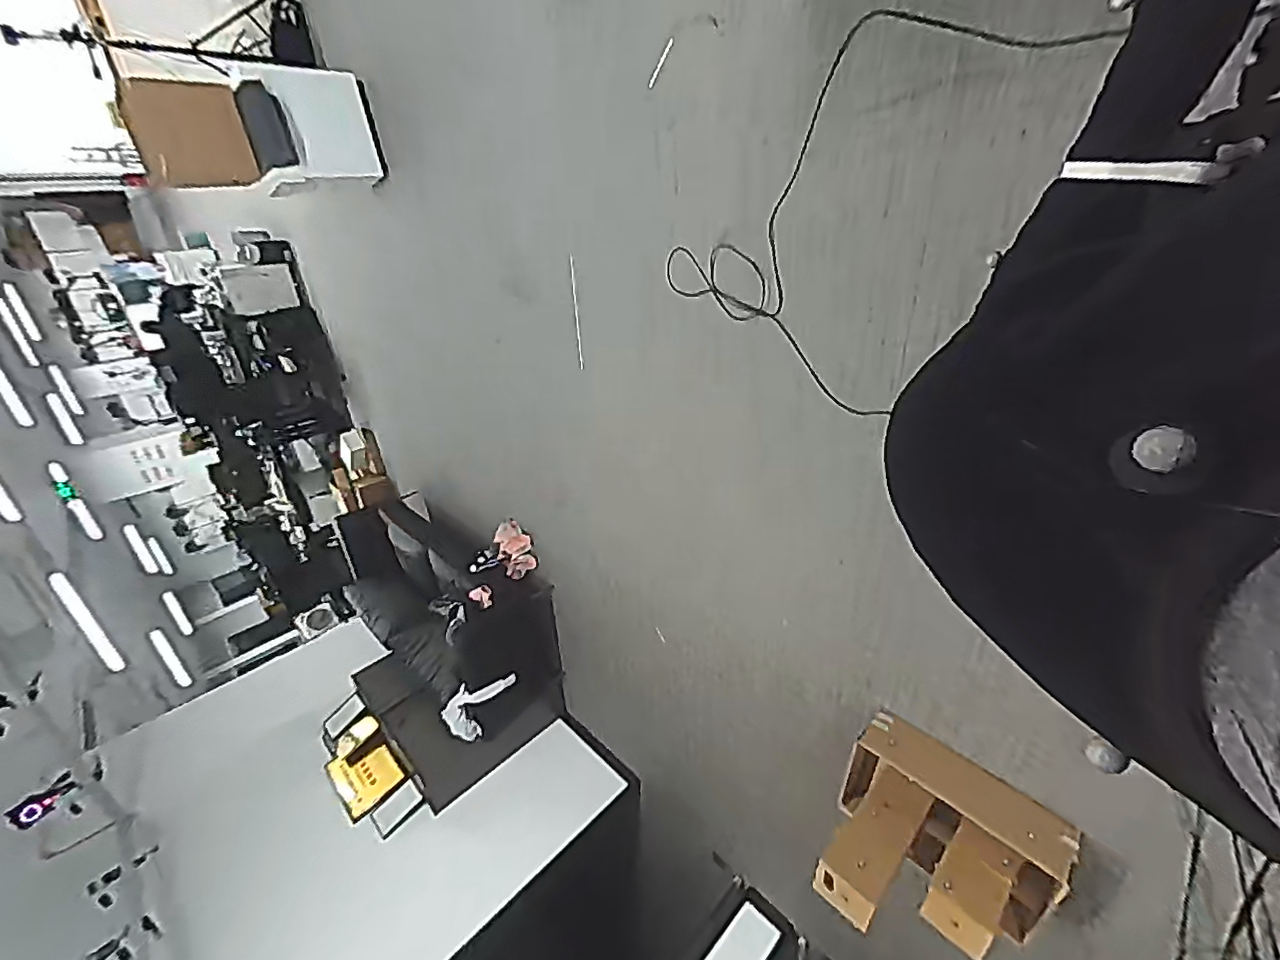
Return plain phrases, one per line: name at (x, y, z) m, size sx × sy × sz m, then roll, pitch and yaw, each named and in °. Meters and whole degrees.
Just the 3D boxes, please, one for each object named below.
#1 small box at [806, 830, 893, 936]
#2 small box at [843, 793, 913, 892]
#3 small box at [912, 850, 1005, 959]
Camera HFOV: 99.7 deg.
small box at (0.641, 1.217, 1.654) m, size 0.179 × 0.176 × 0.168 m, roll 26°, pitch 128°, yaw 38°
small box at (0.761, 1.169, 1.754) m, size 0.168 × 0.176 × 0.179 m, roll 26°, pitch 128°, yaw 38°
small box at (0.939, 1.252, 1.592) m, size 0.179 × 0.176 × 0.168 m, roll 25°, pitch 127°, yaw 42°
